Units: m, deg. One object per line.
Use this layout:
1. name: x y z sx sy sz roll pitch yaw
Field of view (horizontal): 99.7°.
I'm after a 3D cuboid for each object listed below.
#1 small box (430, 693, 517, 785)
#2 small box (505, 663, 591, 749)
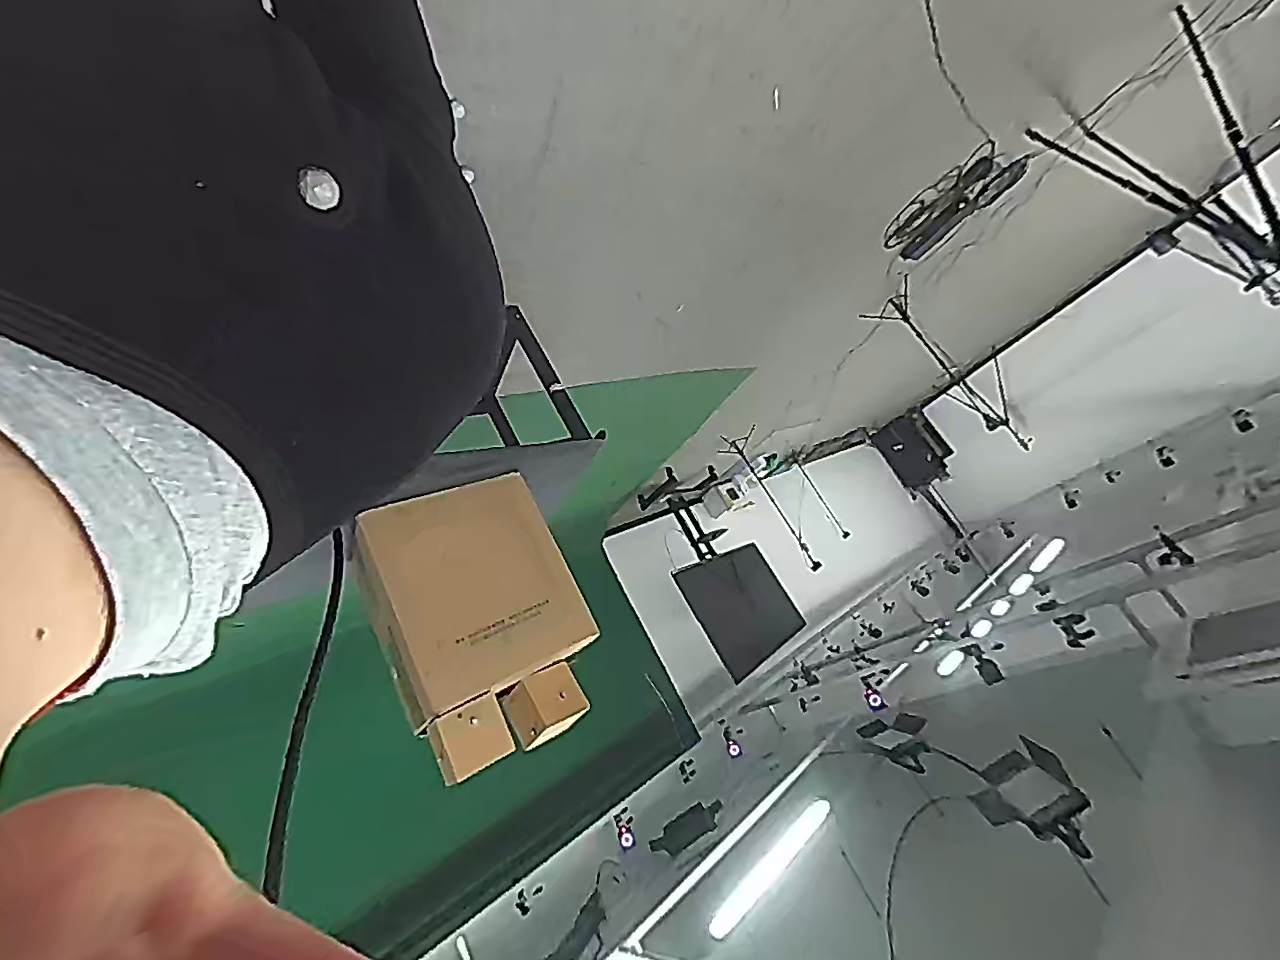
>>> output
1. small box: -0.466 0.712 1.496 0.168 0.176 0.179 -17 159 -36
2. small box: -0.296 0.709 1.715 0.179 0.176 0.168 -8 142 -48
